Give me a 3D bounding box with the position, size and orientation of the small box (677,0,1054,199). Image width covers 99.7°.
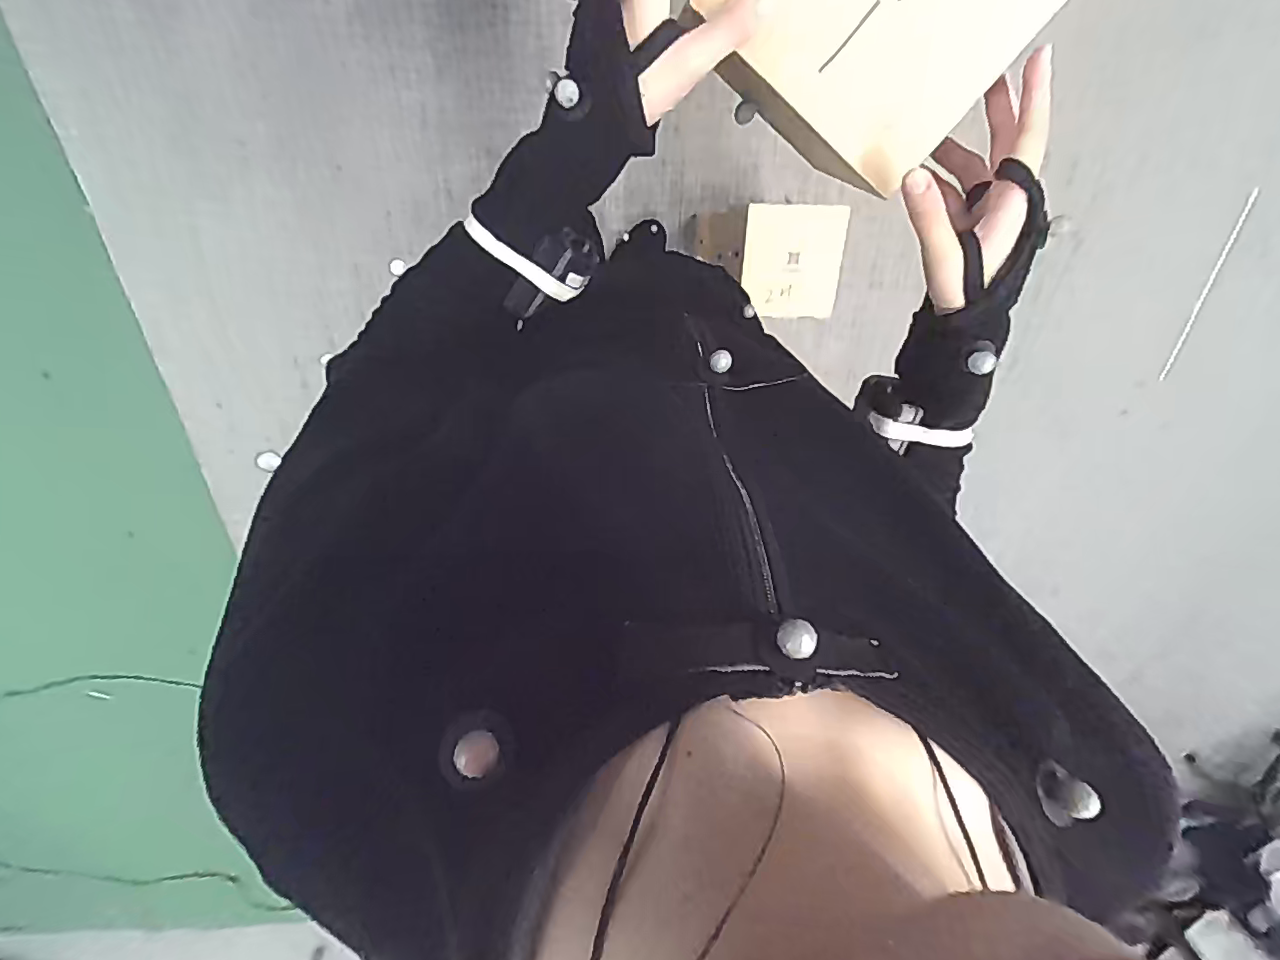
[{"bbox_3d":[0.134,-0.320,0.342,0.168,0.176,0.179,30,121,-20],"label":"small box"}]

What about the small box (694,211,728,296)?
[{"bbox_3d":[0.219,-0.531,1.255,0.179,0.176,0.168,-6,118,-1],"label":"small box"}]

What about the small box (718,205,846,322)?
[{"bbox_3d":[0.239,-0.387,0.959,0.168,0.176,0.179,0,118,-4],"label":"small box"}]
